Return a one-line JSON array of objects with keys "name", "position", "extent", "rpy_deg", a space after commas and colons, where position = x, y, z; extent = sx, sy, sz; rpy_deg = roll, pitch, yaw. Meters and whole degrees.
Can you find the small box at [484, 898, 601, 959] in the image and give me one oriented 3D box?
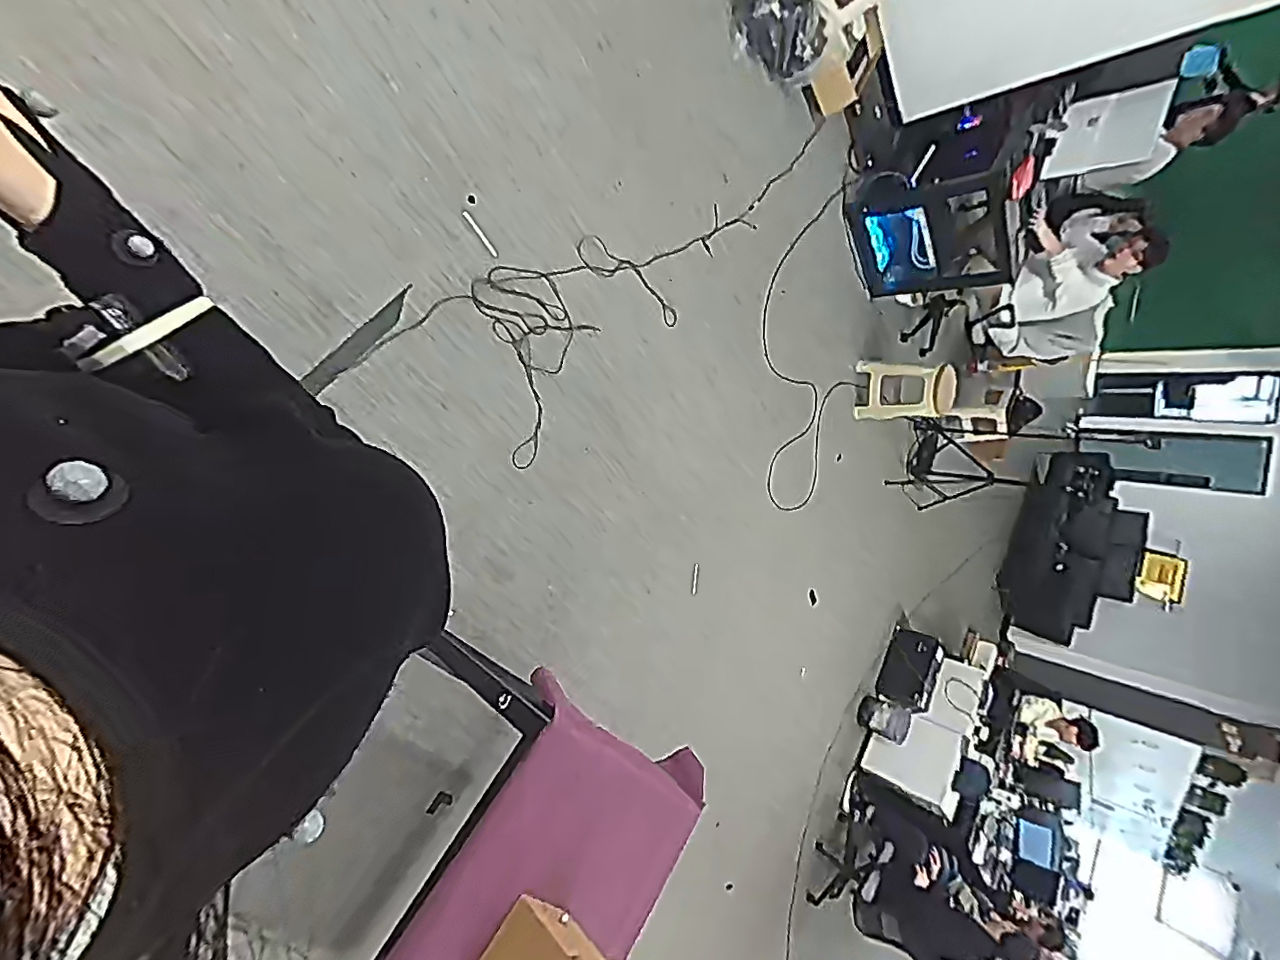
[{"name": "small box", "position": [-0.177, 0.912, 0.971], "extent": [0.179, 0.176, 0.168], "rpy_deg": [-52, 129, -24]}]
